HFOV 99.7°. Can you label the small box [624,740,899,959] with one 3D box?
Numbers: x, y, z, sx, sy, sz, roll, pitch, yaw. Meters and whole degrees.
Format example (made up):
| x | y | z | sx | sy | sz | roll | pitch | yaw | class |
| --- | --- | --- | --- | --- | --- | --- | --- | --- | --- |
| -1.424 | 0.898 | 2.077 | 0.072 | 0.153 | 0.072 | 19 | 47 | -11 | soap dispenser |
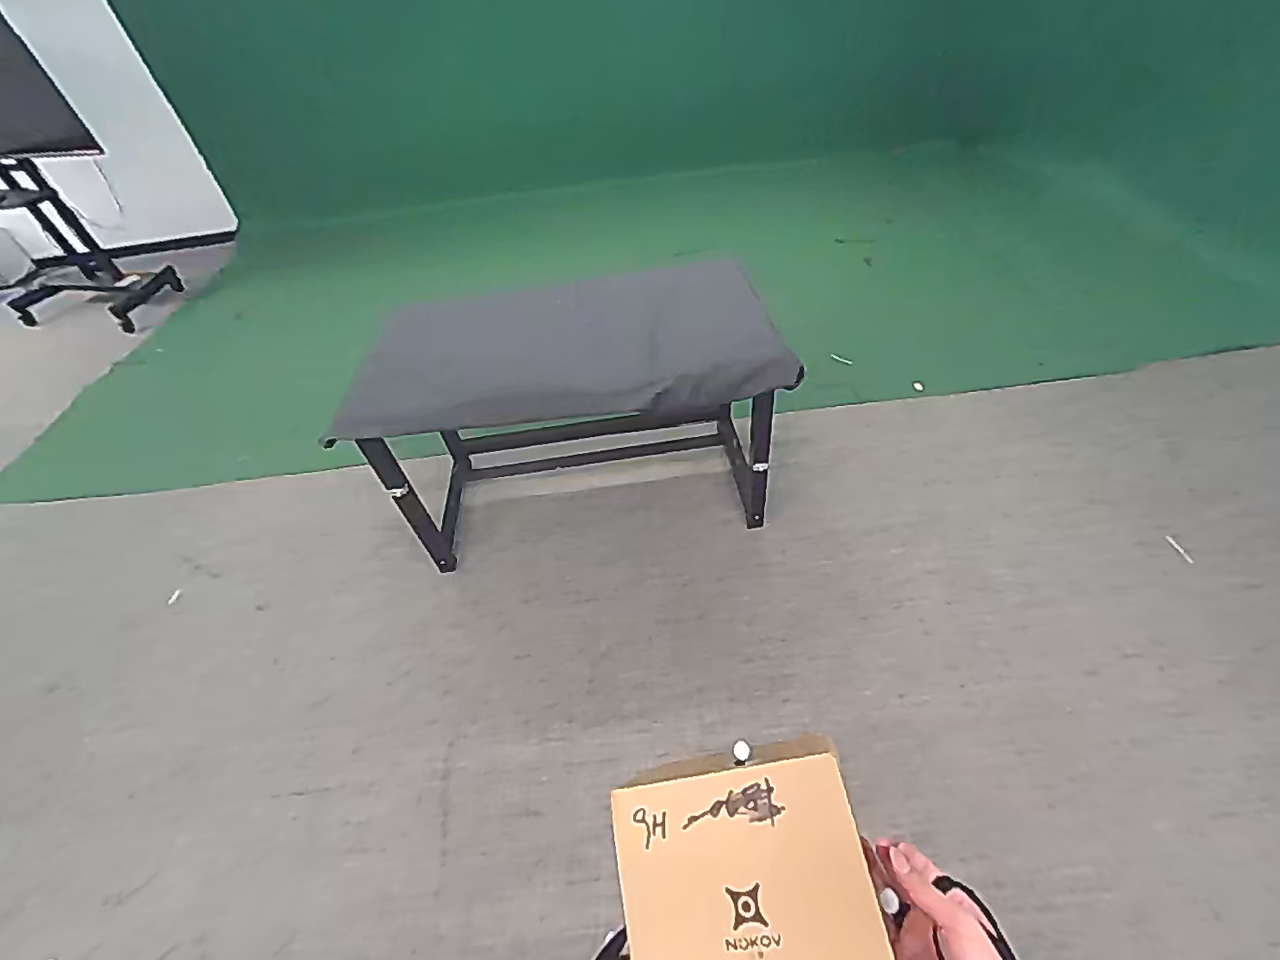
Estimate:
| x | y | z | sx | sy | sz | roll | pitch | yaw | class |
| --- | --- | --- | --- | --- | --- | --- | --- | --- | --- |
| 0.101 | 0.319 | 0.426 | 0.168 | 0.176 | 0.179 | -15 | 67 | 11 | small box |
